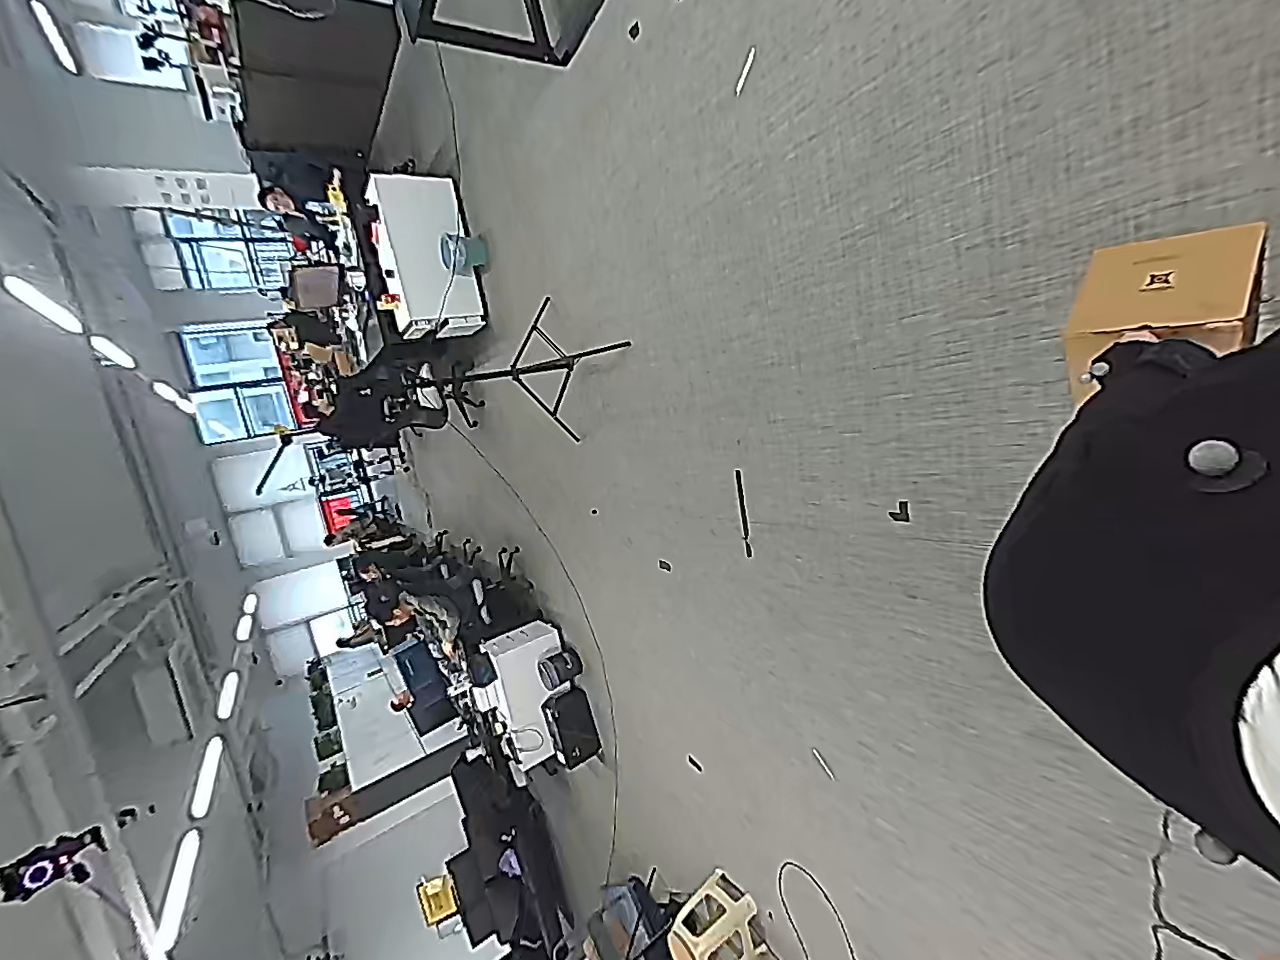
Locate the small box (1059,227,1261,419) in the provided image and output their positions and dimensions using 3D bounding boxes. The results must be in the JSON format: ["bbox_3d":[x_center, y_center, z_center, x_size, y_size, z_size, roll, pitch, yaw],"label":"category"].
[{"bbox_3d":[0.699,-0.199,0.731,0.168,0.179,0.176,10,150,49],"label":"small box"}]
